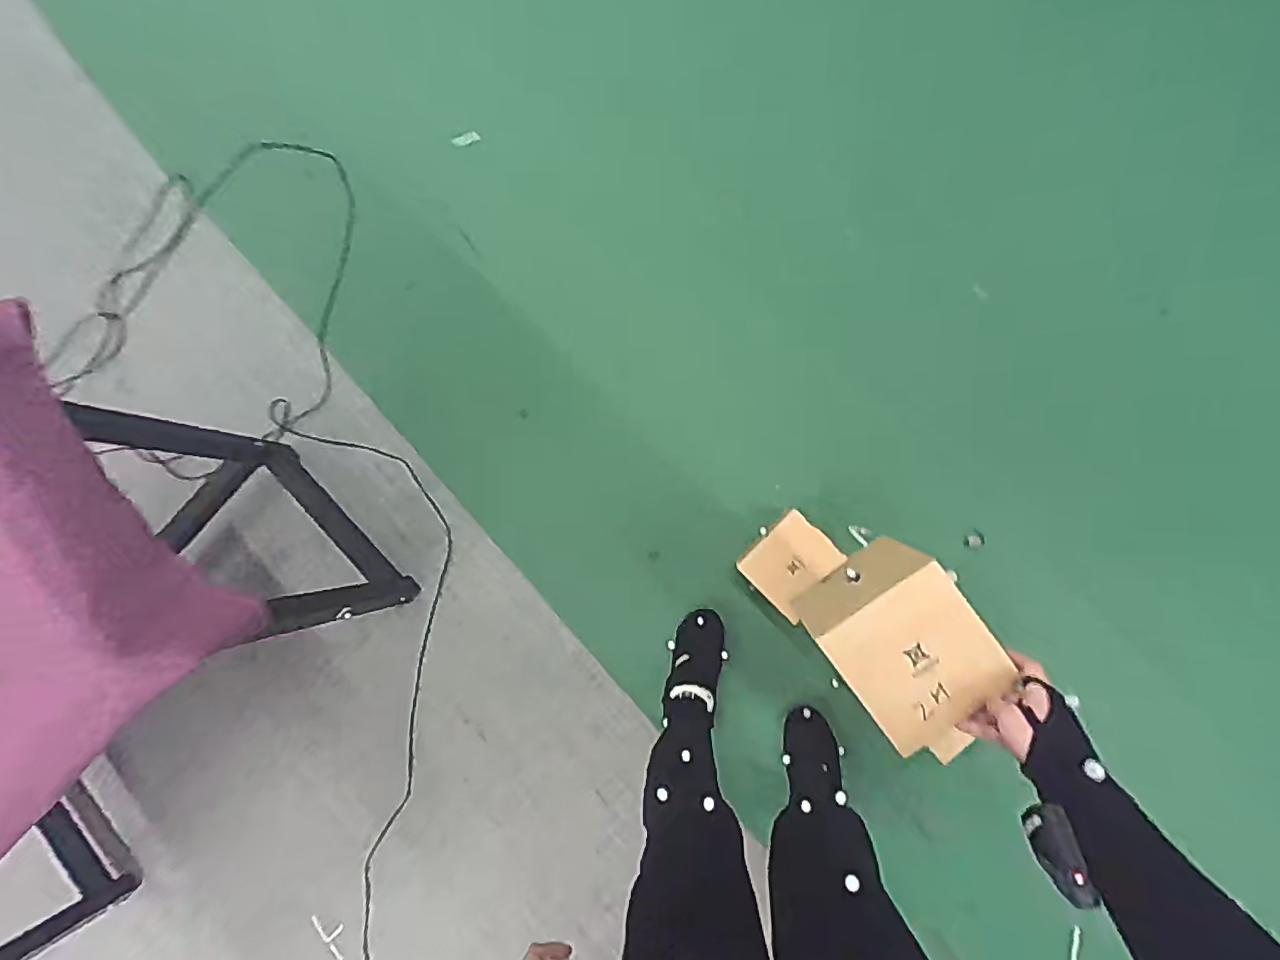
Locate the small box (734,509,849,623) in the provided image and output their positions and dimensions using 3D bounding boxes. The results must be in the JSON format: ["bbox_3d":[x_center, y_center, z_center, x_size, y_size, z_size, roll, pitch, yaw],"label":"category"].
[{"bbox_3d":[0.325,0.185,1.187,0.179,0.176,0.168,-45,80,2],"label":"small box"}]

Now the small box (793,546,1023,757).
[{"bbox_3d":[0.320,0.200,0.691,0.168,0.176,0.179,-36,91,6],"label":"small box"}]
